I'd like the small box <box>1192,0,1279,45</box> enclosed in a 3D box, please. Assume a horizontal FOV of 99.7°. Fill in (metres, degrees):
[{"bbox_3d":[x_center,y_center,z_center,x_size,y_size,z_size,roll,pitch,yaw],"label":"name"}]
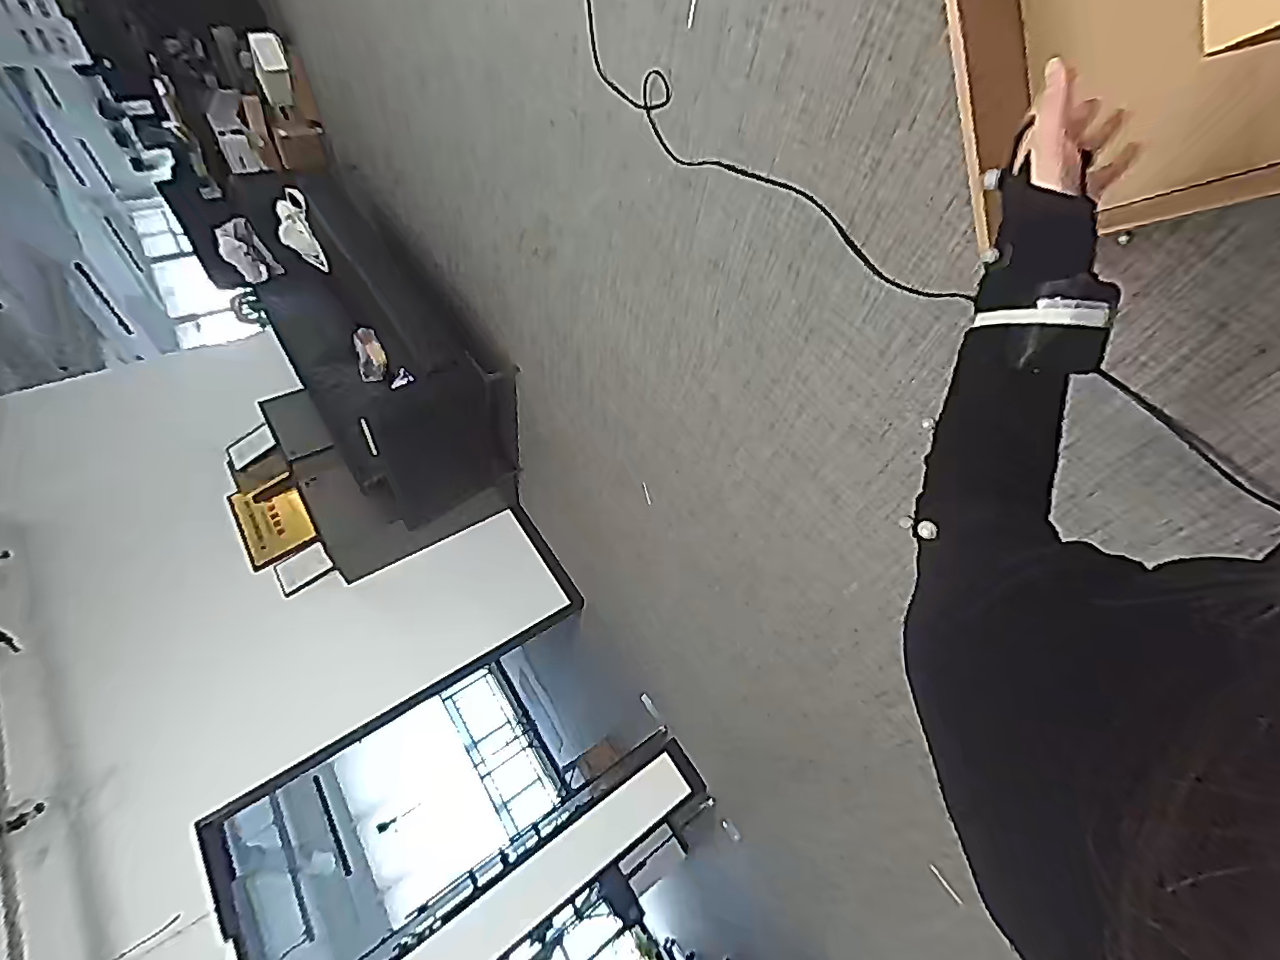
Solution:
[{"bbox_3d":[0.401,-0.346,0.245,0.179,0.176,0.168,14,128,60],"label":"small box"}]
